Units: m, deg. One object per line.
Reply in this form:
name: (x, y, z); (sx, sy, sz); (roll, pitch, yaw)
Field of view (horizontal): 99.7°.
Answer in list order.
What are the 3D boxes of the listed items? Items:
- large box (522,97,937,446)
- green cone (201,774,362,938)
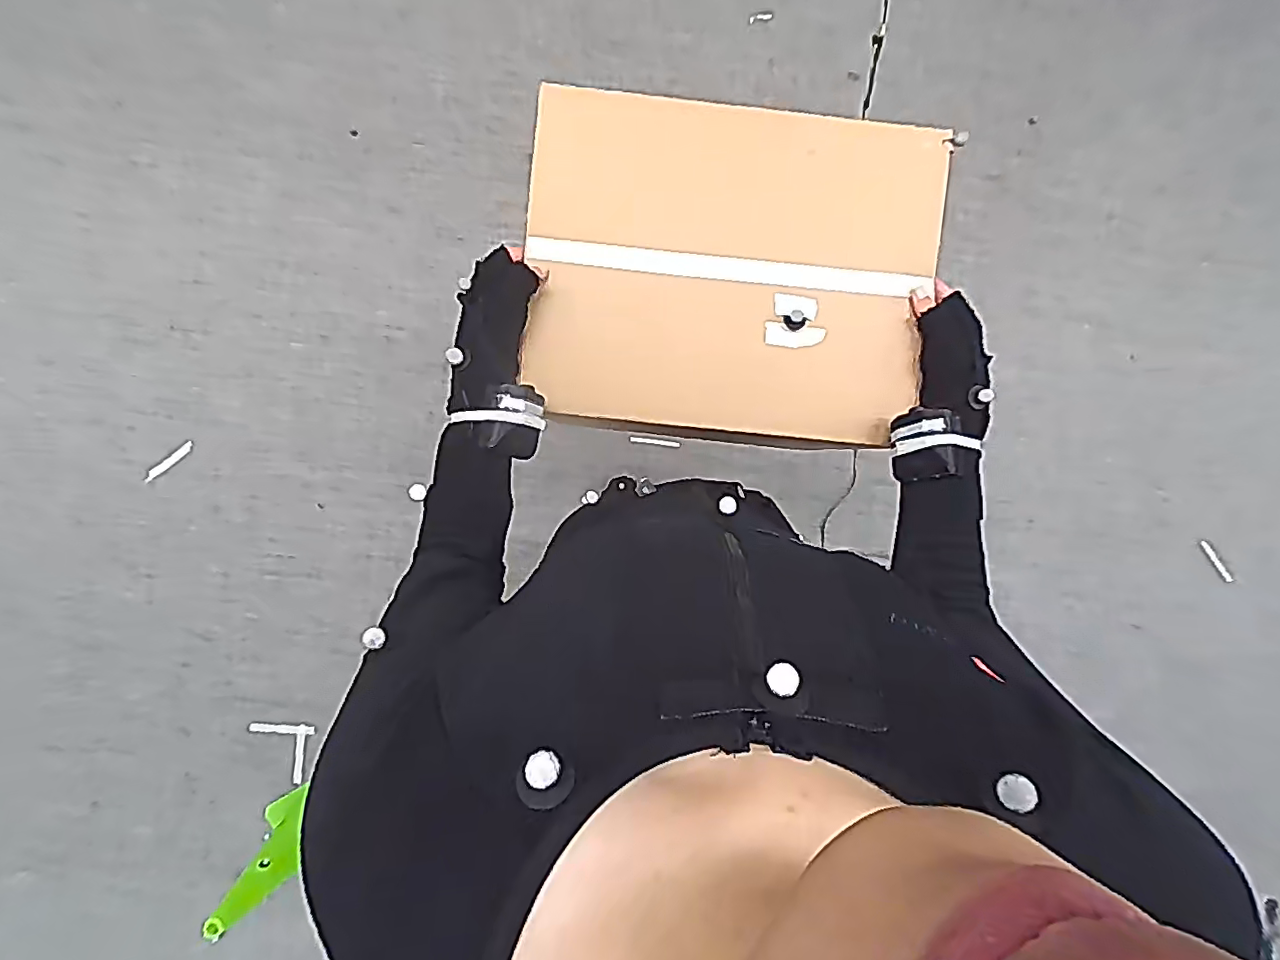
large box: (0.083, -0.215, 0.689); (0.408, 0.320, 0.320); (6, 93, -2)
green cone: (-0.877, 0.918, 1.288); (0.202, 0.368, 0.200); (-31, 89, 0)
